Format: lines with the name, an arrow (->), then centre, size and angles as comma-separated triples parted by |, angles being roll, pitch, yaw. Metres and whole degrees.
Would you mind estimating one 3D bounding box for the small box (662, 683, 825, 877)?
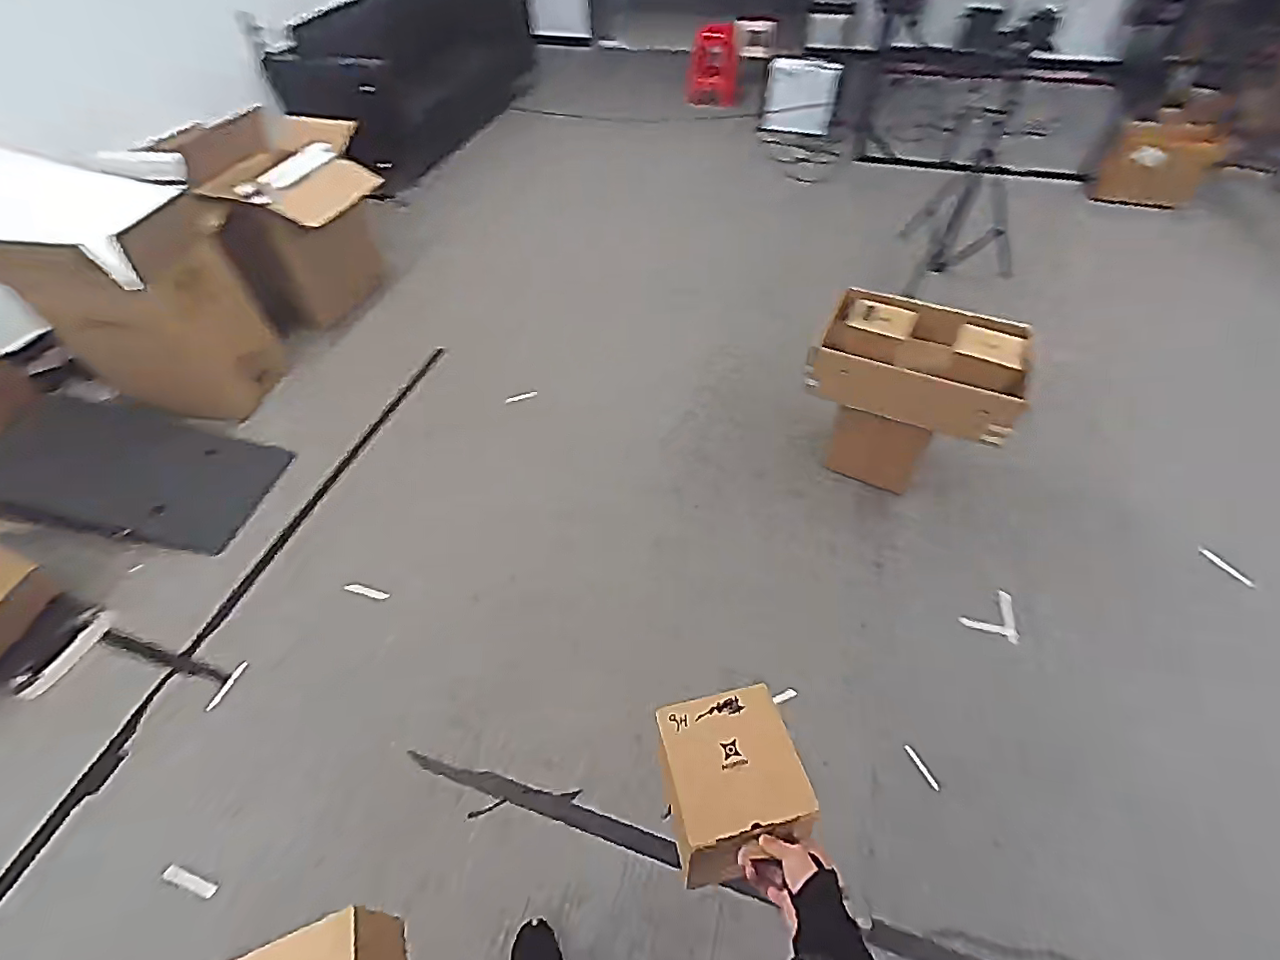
small box -> 0.129, 0.414, 0.741 | 0.168, 0.176, 0.179 | -8, 40, -7
